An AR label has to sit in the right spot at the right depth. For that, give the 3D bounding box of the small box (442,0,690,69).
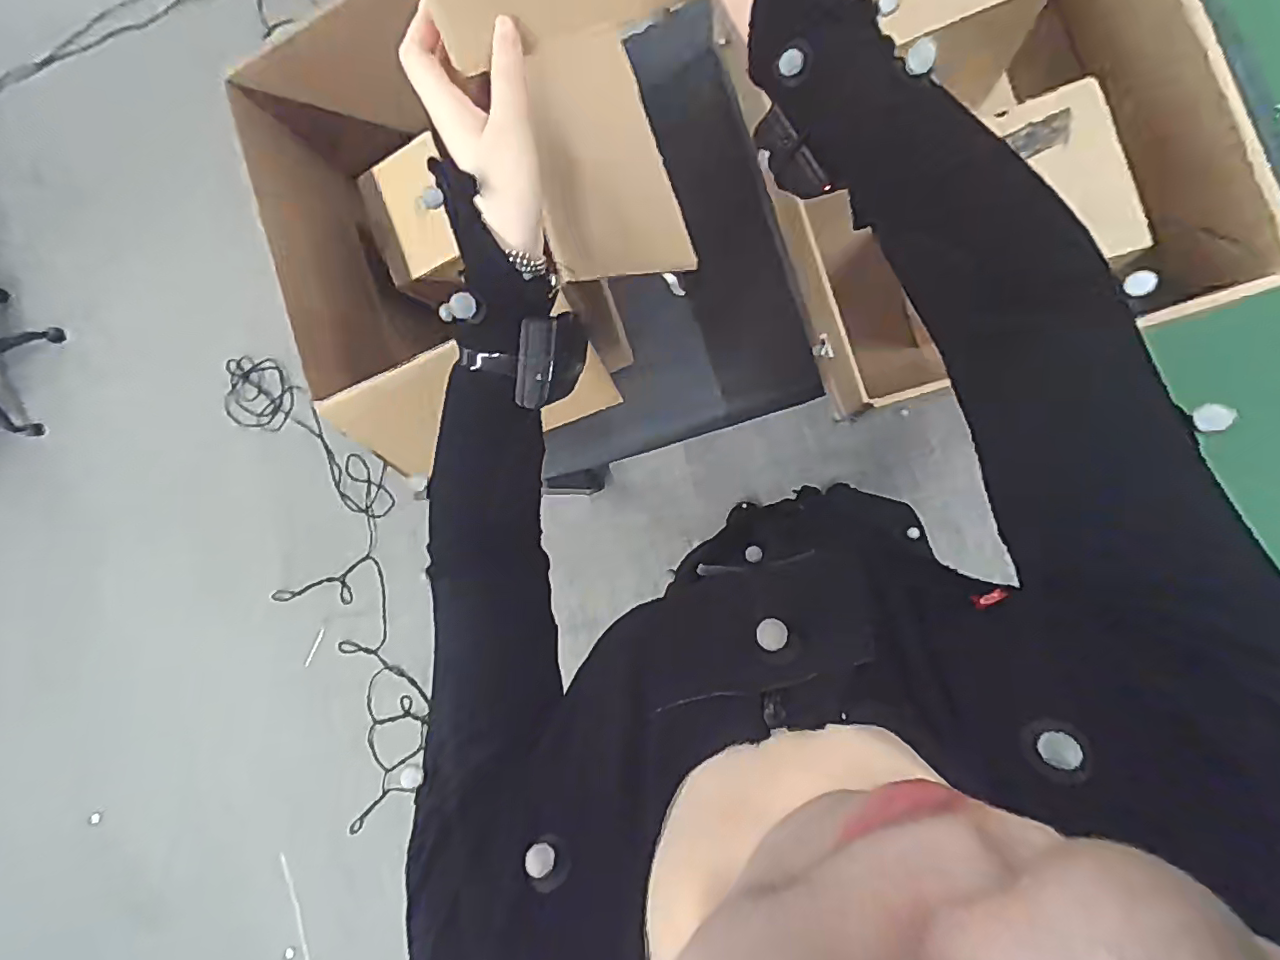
[{"bbox_3d":[-0.054,-0.375,0.296,0.179,0.168,0.176,-19,58,1],"label":"small box"}]
